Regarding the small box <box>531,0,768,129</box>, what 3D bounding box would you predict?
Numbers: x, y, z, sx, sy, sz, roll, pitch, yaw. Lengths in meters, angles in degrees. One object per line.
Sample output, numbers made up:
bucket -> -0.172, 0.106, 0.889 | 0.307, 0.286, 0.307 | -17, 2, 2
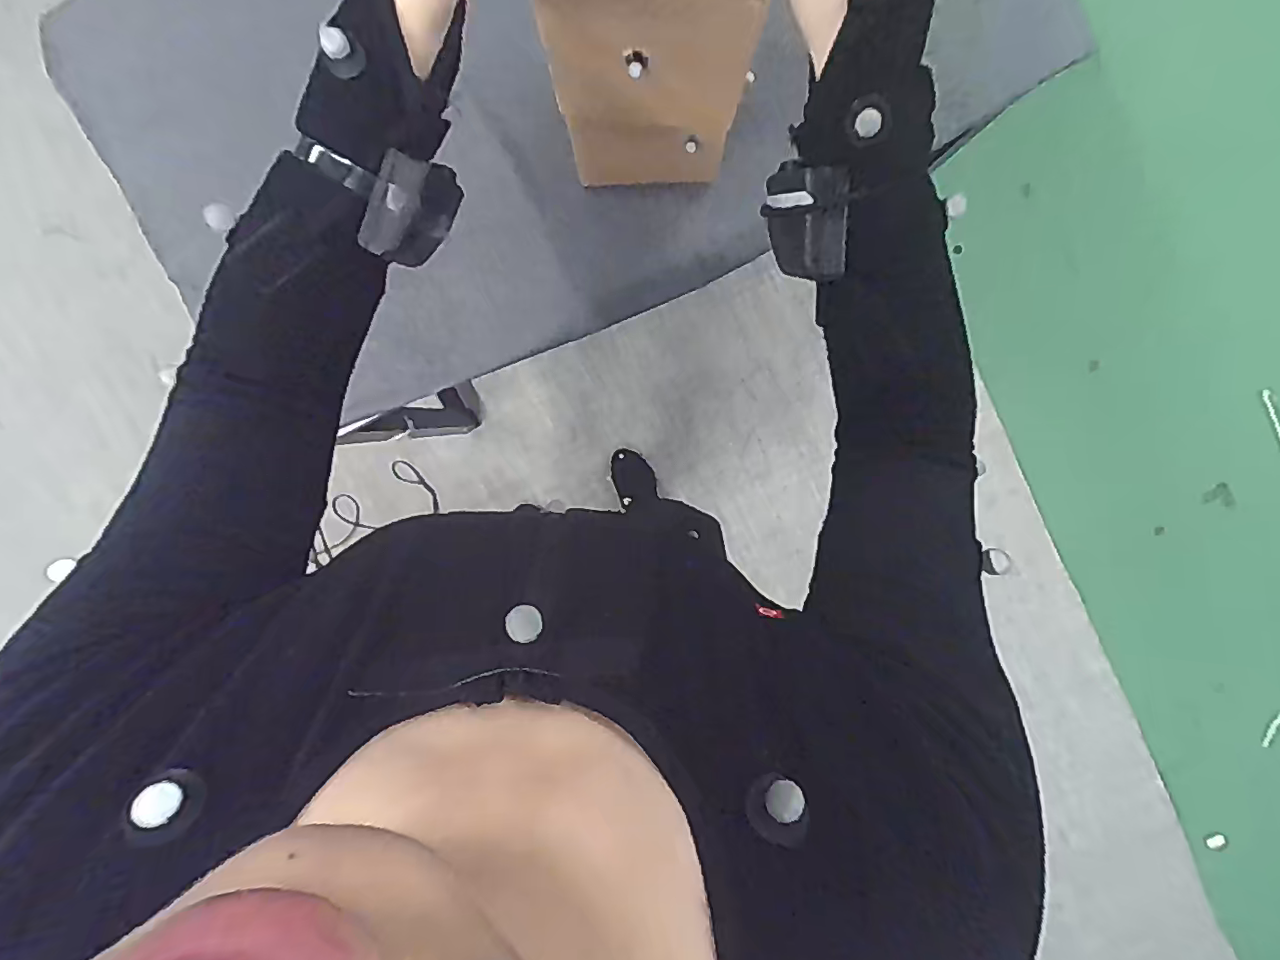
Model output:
small box -> 0.013, -0.430, 0.458 | 0.179, 0.176, 0.168 | 6, 95, 1
